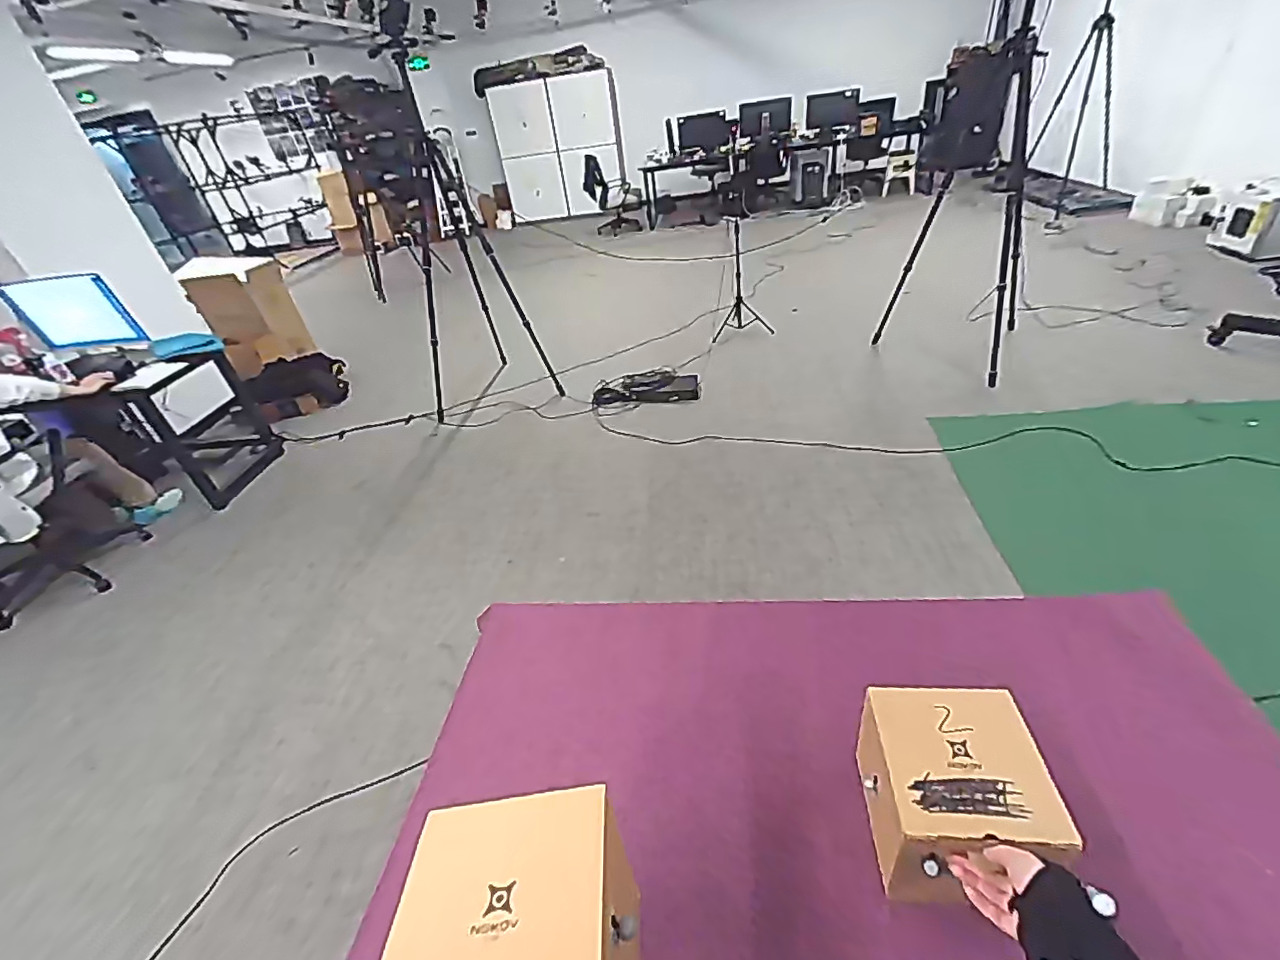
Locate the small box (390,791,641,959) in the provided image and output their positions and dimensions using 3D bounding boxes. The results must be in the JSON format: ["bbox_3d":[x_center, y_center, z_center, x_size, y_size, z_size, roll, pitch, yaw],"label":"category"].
[{"bbox_3d":[-0.093,0.406,0.455,0.168,0.176,0.179,-11,25,2],"label":"small box"}]
